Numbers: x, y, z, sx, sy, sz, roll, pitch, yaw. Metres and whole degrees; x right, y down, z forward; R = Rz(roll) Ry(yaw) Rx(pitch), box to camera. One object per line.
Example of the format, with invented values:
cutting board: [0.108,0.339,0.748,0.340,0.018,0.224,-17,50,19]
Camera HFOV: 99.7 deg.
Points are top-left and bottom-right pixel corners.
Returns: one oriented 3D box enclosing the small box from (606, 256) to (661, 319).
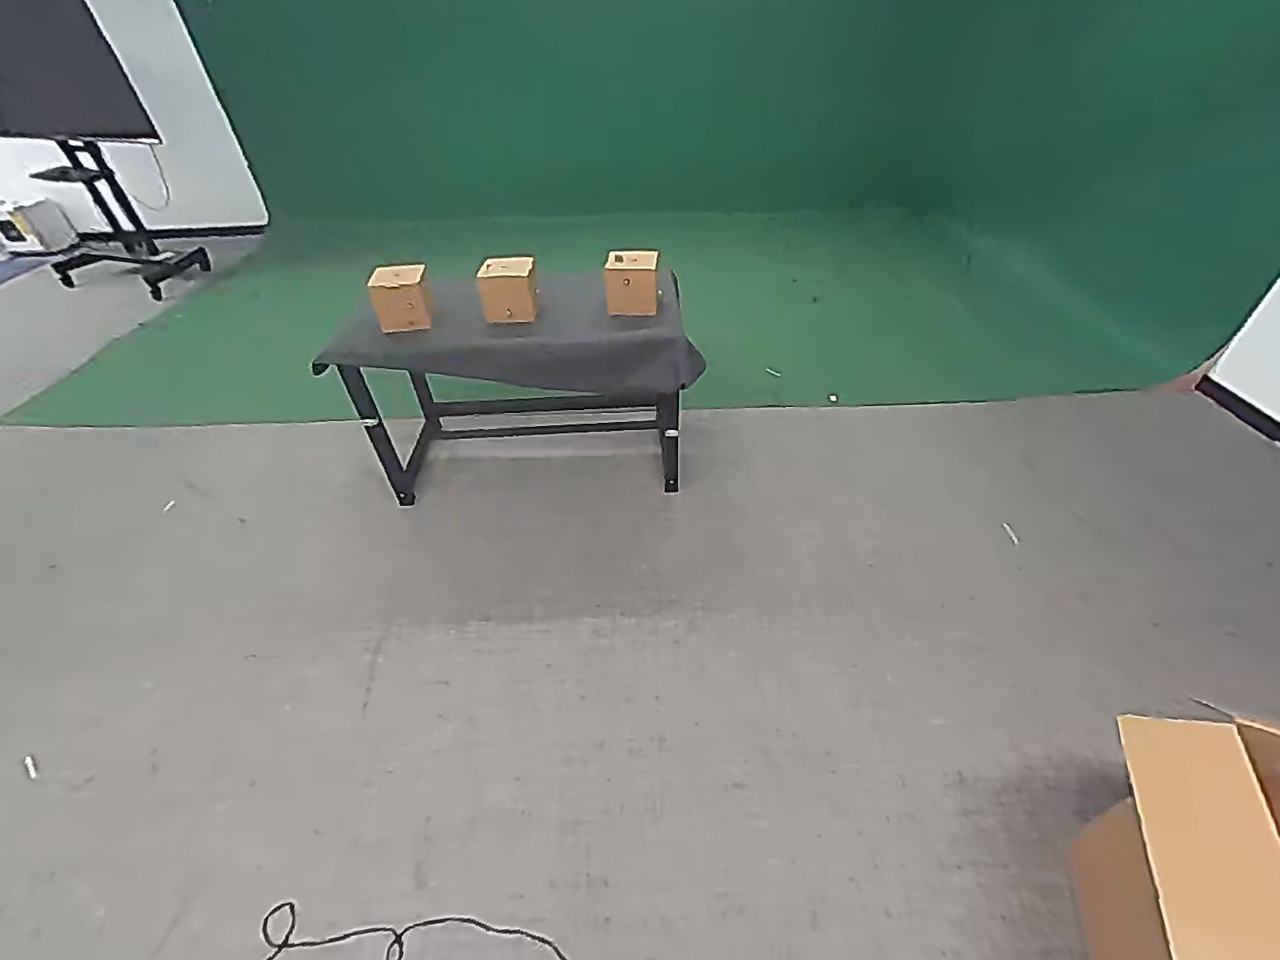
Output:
small box: [-0.018,-0.687,1.936,0.179,0.176,0.168,2,42,5]

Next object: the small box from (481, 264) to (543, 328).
small box: [-0.448,-0.655,1.929,0.179,0.176,0.168,-1,41,2]

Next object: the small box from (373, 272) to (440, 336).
small box: [-0.815,-0.616,1.907,0.168,0.176,0.179,-7,39,-7]
